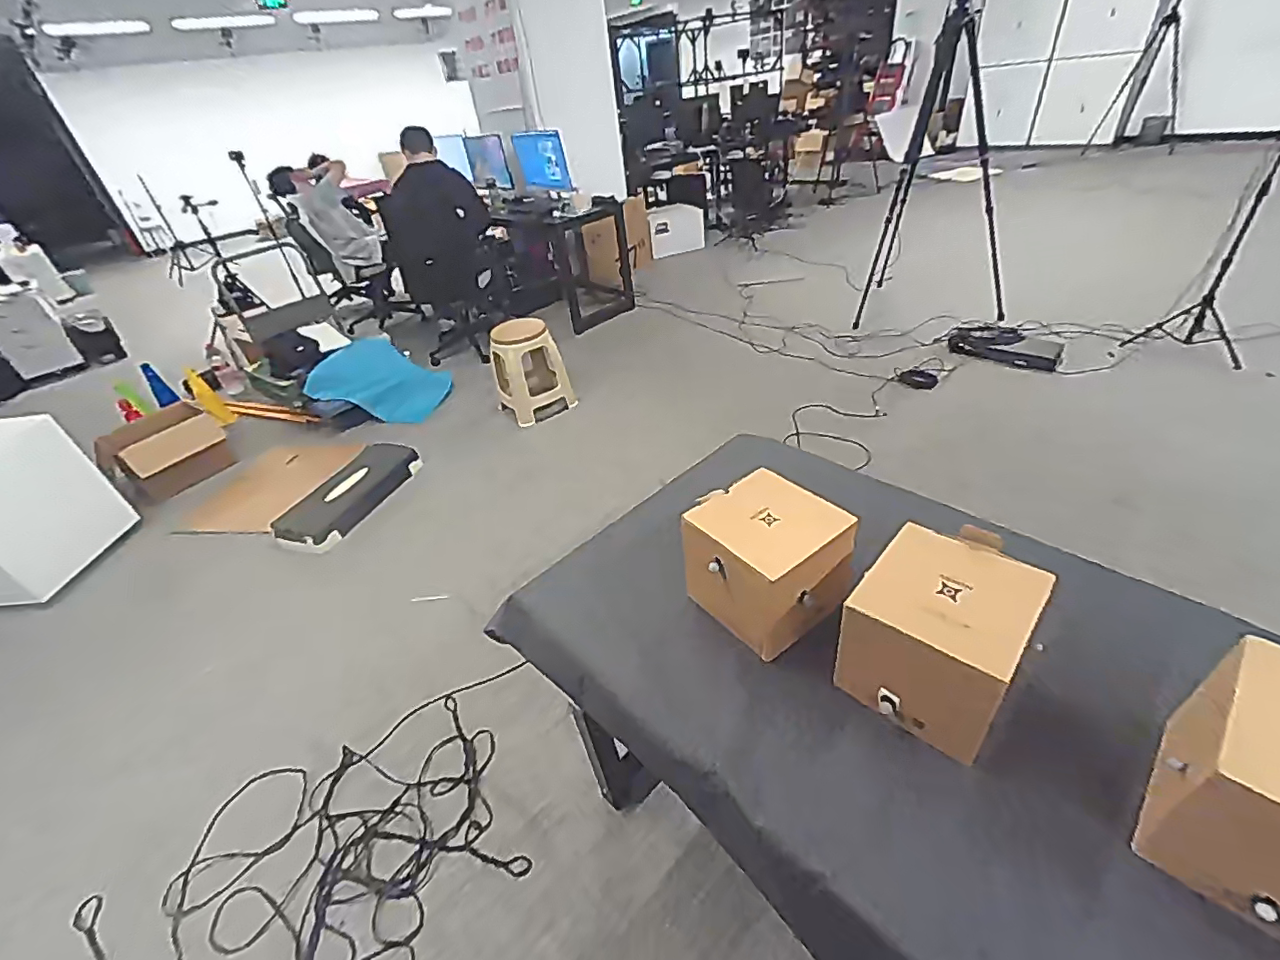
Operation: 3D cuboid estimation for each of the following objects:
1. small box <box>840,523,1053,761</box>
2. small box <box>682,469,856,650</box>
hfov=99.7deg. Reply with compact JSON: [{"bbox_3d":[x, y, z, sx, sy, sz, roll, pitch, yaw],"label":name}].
[{"bbox_3d":[0.357,0.189,0.653,0.168,0.176,0.179,23,46,37],"label":"small box"},{"bbox_3d":[0.182,0.117,0.785,0.168,0.176,0.179,-28,40,-26],"label":"small box"}]
